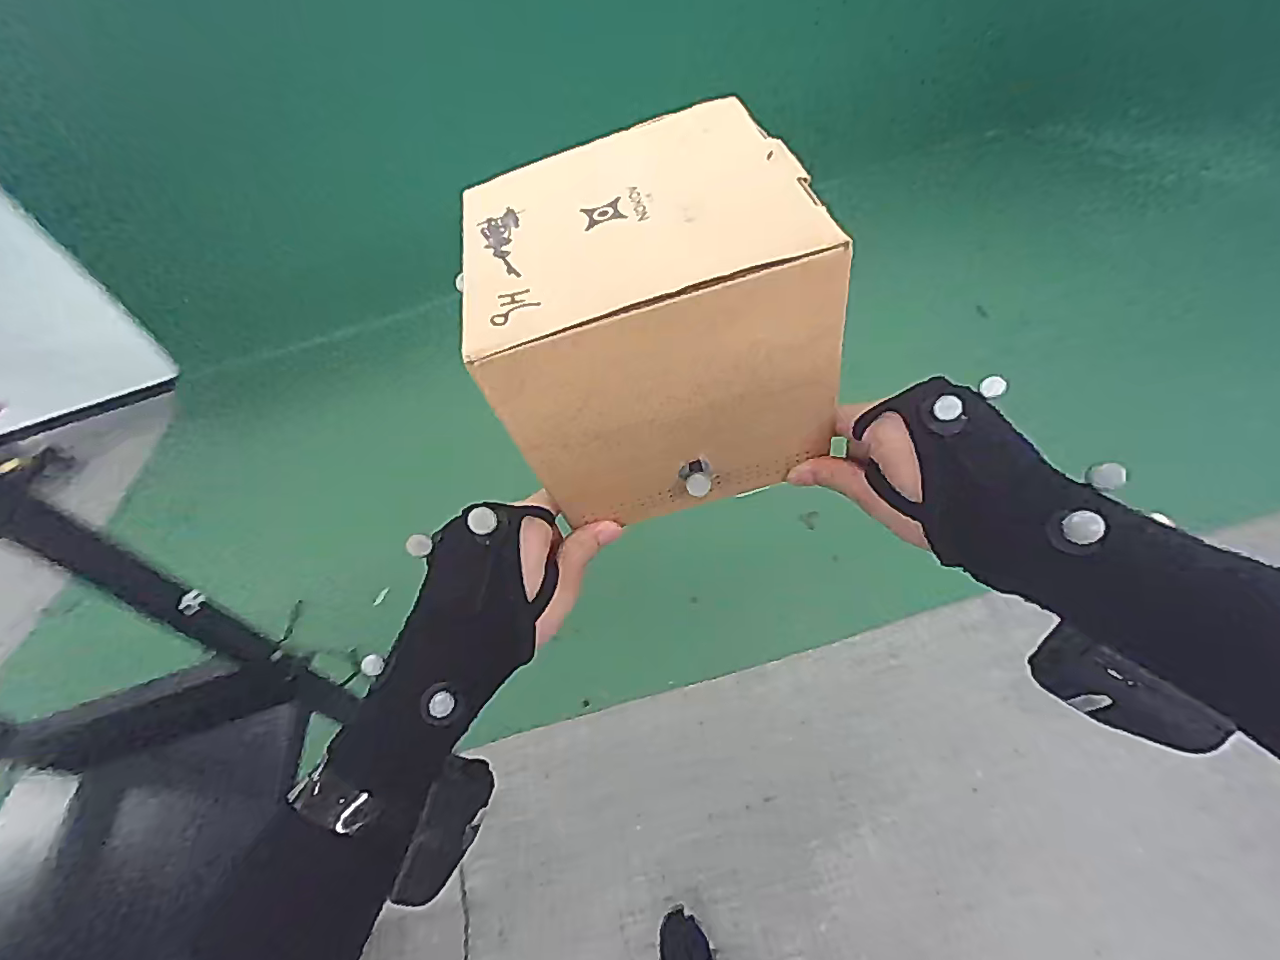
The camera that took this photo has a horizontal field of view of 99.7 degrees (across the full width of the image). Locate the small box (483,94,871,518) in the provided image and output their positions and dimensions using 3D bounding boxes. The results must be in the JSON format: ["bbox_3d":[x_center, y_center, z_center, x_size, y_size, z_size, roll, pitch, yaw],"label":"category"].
[{"bbox_3d":[0.018,-0.099,0.343,0.179,0.176,0.168,-15,53,4],"label":"small box"}]
